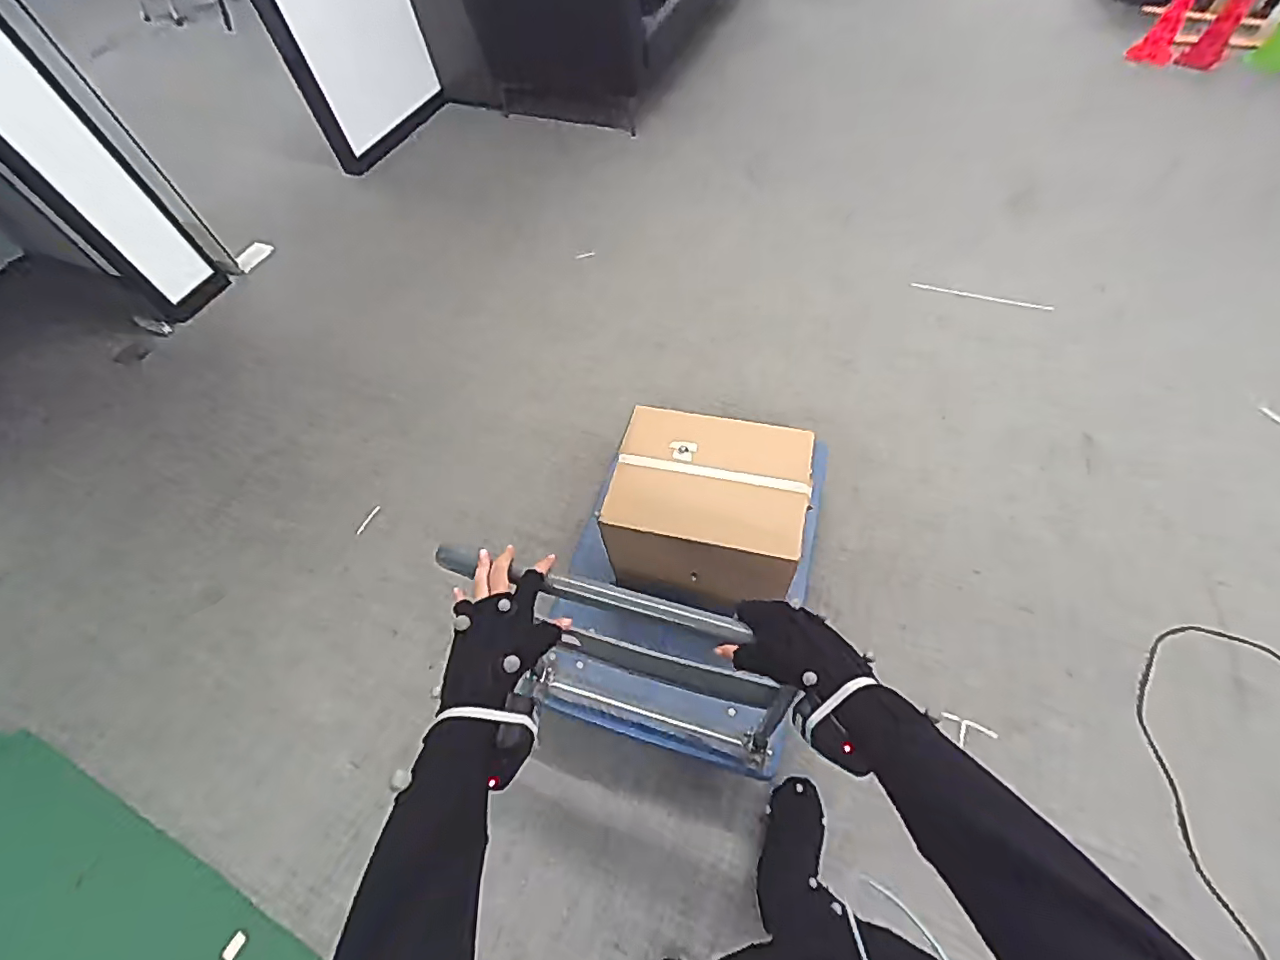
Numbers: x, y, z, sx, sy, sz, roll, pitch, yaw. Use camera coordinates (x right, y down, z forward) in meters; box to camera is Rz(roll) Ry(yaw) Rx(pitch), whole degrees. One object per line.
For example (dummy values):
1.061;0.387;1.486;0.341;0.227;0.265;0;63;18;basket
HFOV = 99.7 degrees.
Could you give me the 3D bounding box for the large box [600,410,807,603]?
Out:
0.158;0.068;1.273;0.408;0.320;0.320;9;59;12;large box
